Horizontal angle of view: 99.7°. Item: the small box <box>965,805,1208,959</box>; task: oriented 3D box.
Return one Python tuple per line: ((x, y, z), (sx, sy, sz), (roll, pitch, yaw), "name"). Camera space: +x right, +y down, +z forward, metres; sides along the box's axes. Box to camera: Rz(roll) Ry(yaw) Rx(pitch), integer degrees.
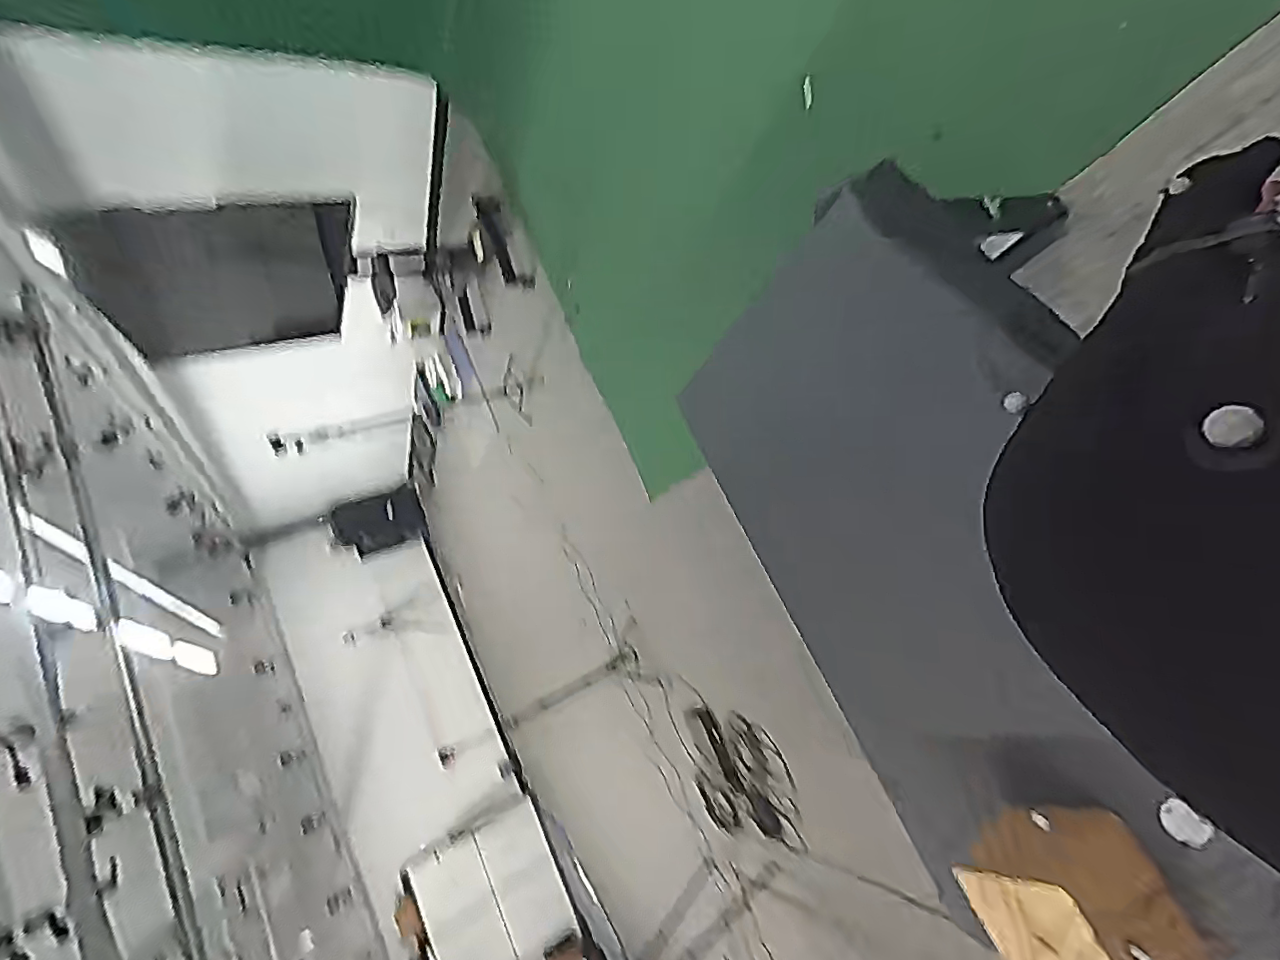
((0.606, 0.583, 0.740), (0.179, 0.176, 0.168), (62, 148, 16), "small box")
